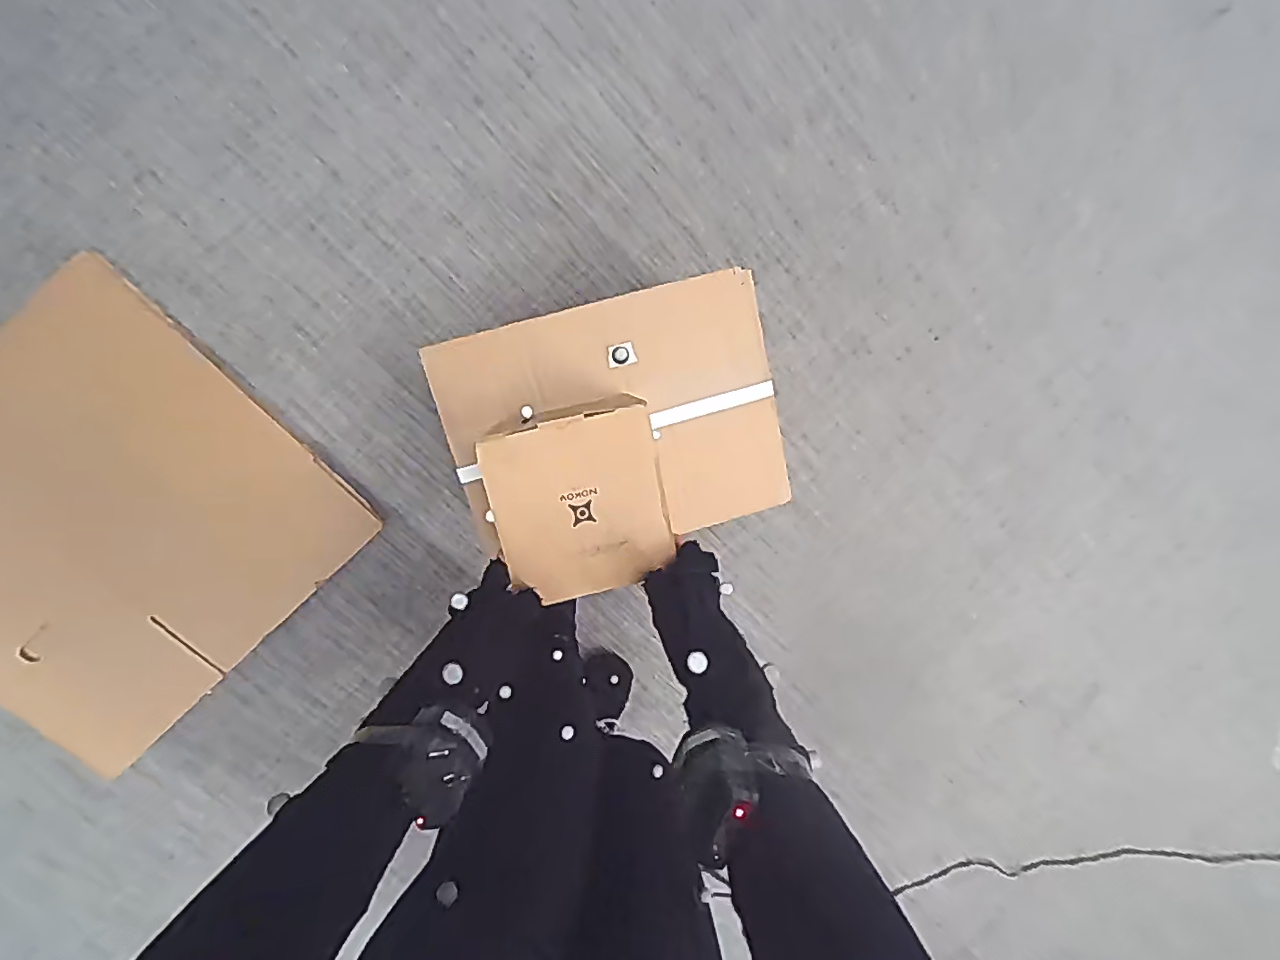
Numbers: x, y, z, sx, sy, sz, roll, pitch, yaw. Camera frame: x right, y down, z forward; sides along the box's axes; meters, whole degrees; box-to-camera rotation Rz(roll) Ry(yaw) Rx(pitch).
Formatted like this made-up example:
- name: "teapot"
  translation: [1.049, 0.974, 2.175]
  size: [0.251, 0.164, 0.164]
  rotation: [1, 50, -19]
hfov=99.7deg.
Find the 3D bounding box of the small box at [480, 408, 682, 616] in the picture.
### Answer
- name: "small box"
  translation: [-0.063, 0.021, 0.602]
  size: [0.168, 0.176, 0.179]
  rotation: [-14, 103, -3]
